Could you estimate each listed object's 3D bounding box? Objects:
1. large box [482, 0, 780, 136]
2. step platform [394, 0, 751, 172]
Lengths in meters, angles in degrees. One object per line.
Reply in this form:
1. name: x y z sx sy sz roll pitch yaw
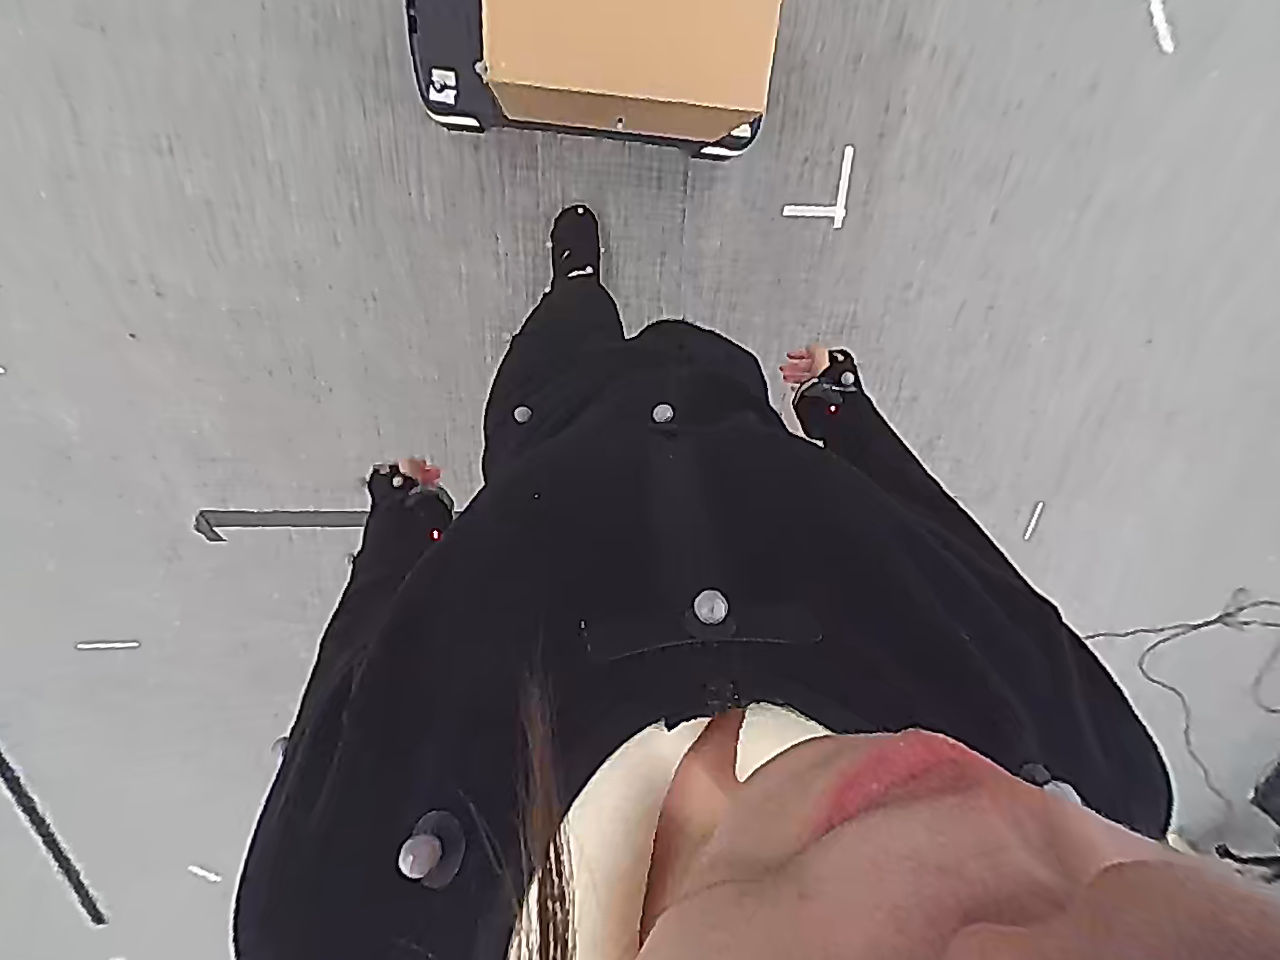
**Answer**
1. large box: -0.019 -0.740 0.833 0.408 0.320 0.320 1 114 -7
2. step platform: -0.104 -0.824 1.047 0.684 0.204 0.286 6 114 -10
